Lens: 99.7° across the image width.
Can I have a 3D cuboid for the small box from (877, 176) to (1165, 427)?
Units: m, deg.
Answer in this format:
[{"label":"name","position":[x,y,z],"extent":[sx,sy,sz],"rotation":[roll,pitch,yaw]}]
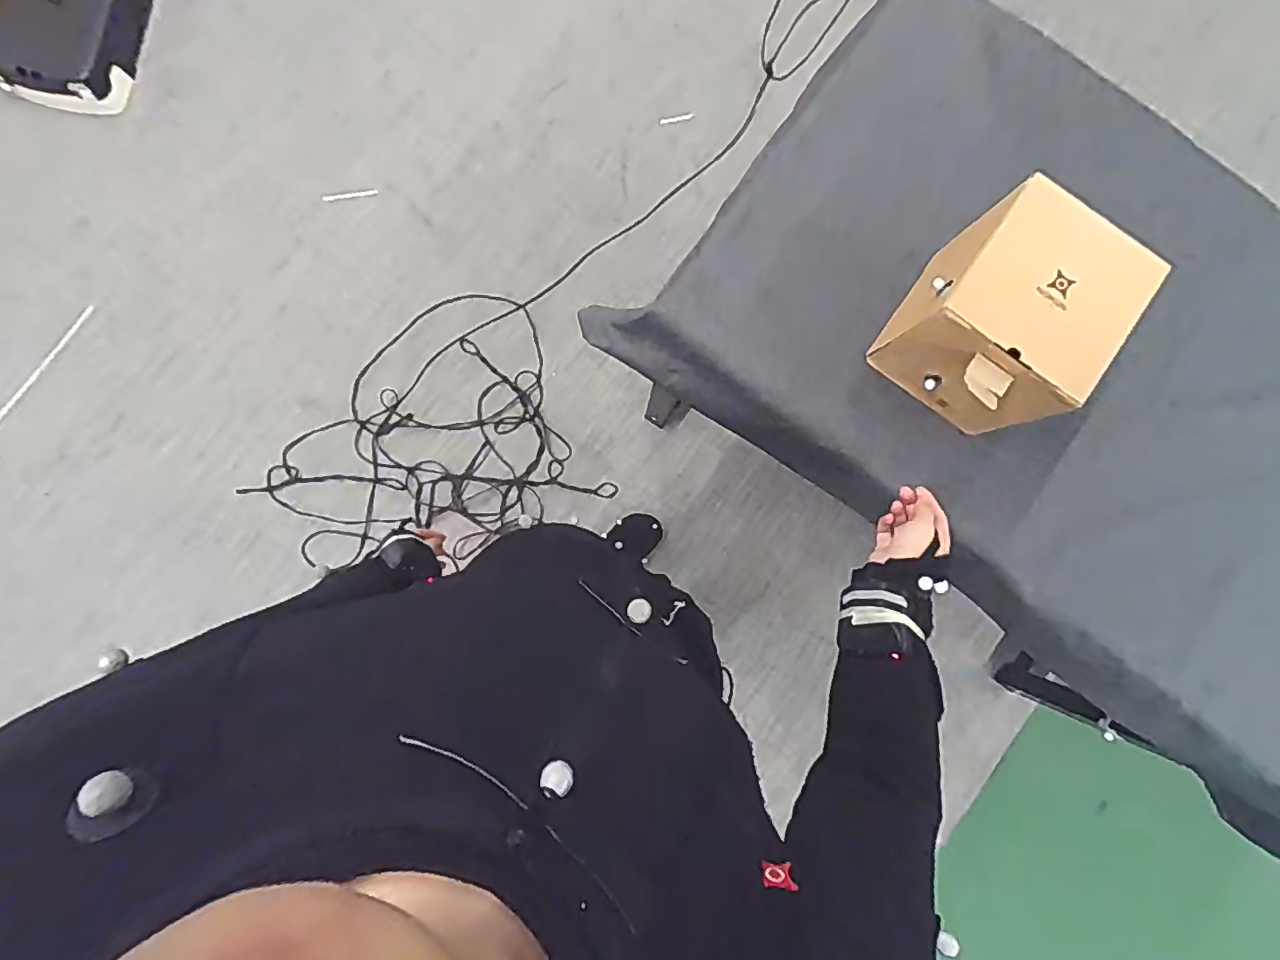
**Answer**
[{"label":"small box","position":[0.407,-0.183,0.611],"extent":[0.168,0.176,0.179],"rotation":[35,85,-1]}]
